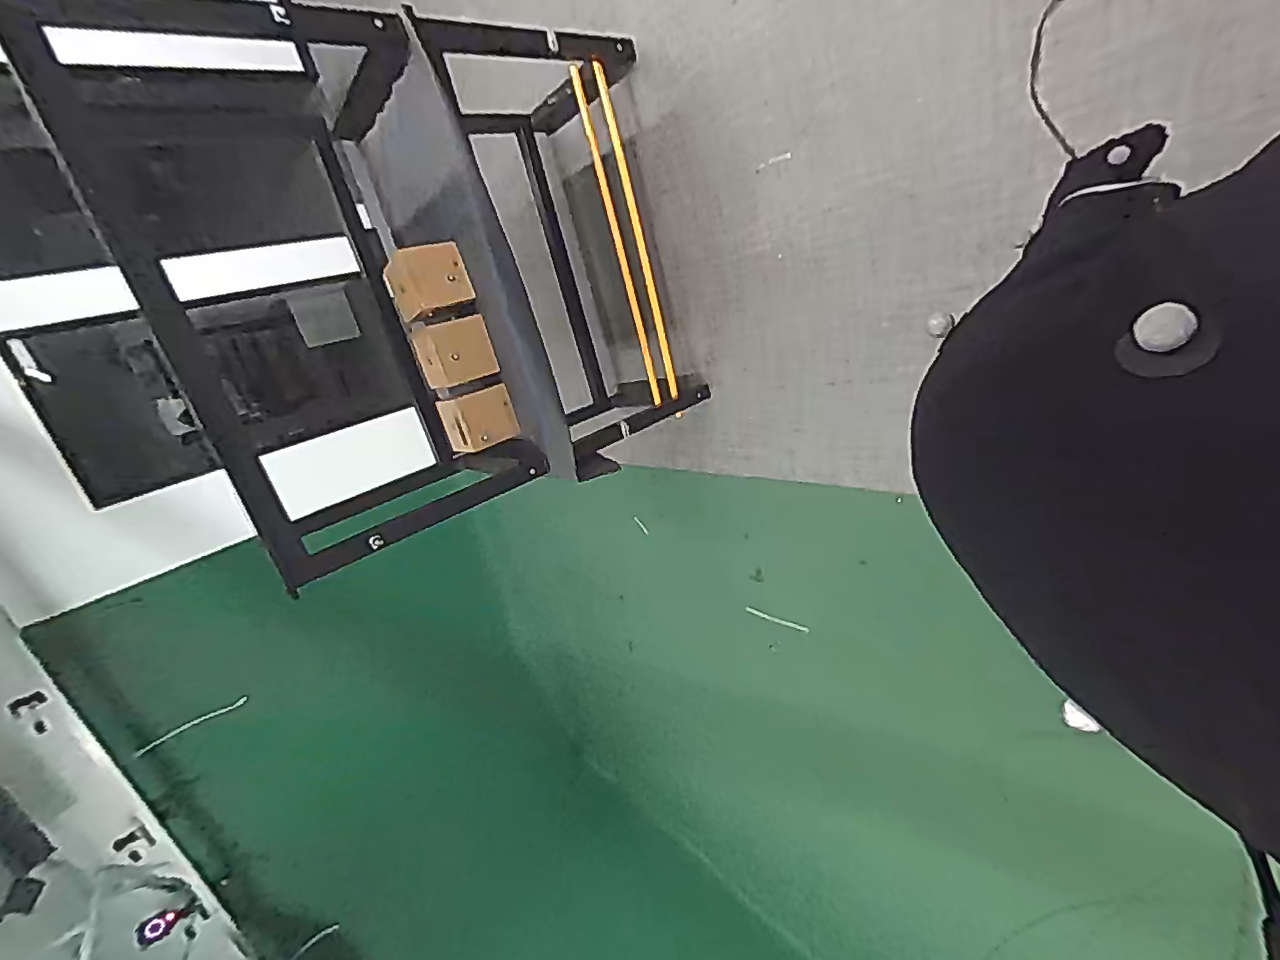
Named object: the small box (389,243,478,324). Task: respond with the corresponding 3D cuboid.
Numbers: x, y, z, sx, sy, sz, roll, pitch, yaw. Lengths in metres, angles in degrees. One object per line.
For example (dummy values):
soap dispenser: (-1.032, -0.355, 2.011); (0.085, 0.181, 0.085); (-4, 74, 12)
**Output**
small box: (-0.599, -0.572, 1.578); (0.179, 0.176, 0.168); (-2, 111, 52)
